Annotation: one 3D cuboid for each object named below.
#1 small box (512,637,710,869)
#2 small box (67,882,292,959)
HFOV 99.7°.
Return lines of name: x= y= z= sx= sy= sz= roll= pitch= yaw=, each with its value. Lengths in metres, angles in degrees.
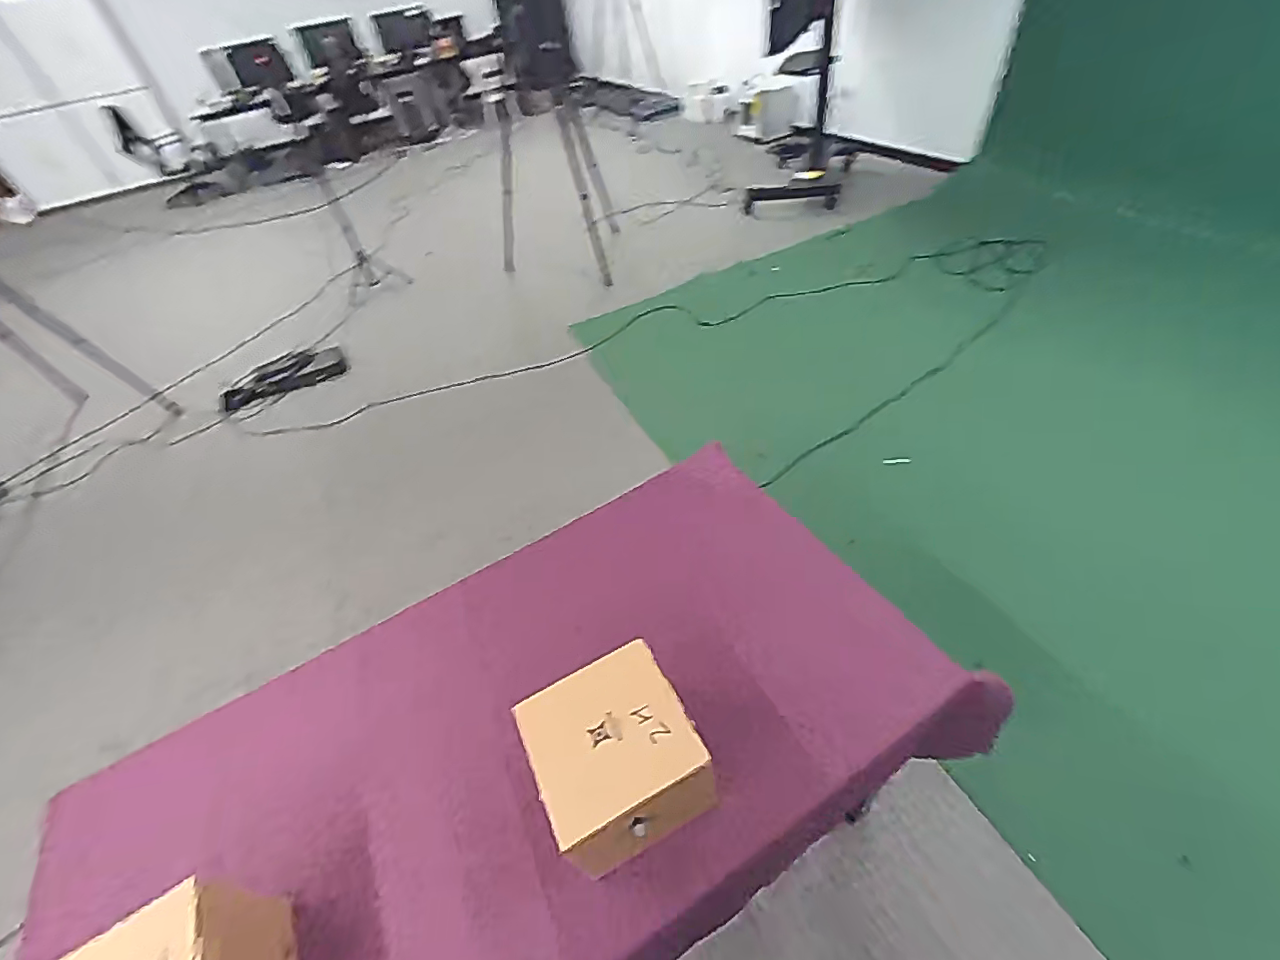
small box: x=-0.029 y=0.333 z=0.657 sx=0.179 sy=0.176 sz=0.168 roll=-25 pitch=47 yaw=-13
small box: x=-0.471 y=0.548 z=0.534 sx=0.179 sy=0.176 sz=0.168 roll=-30 pitch=48 yaw=-17
